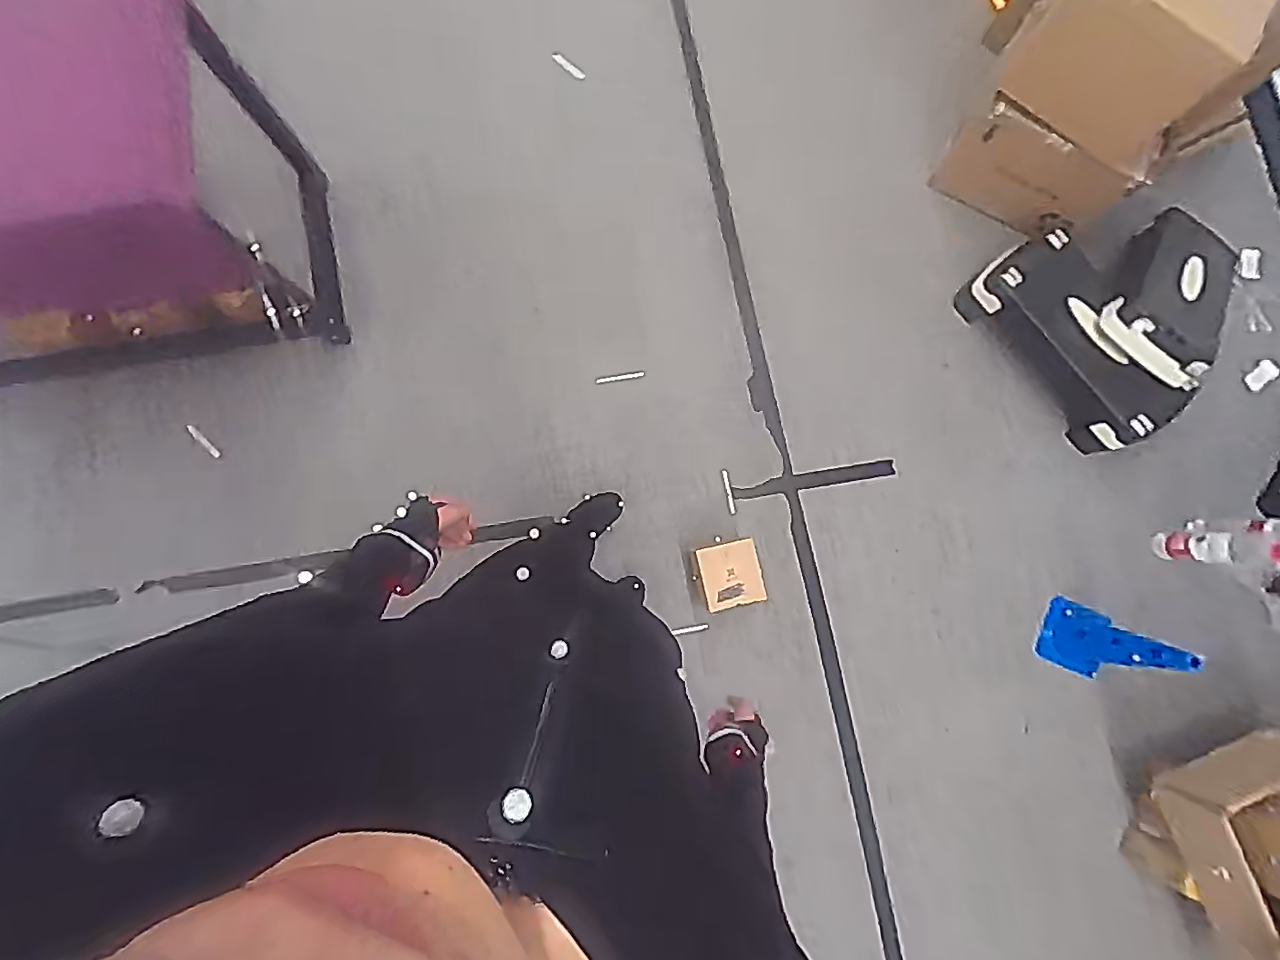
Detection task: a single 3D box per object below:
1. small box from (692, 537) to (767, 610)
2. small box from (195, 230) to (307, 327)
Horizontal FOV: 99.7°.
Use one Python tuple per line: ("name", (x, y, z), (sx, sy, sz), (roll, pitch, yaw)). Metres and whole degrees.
("small box", (0.254, 0.264, 1.568), (0.168, 0.176, 0.179), (-12, 84, -3))
("small box", (-1.147, -0.591, 1.606), (0.168, 0.176, 0.179), (-39, 86, -5))
